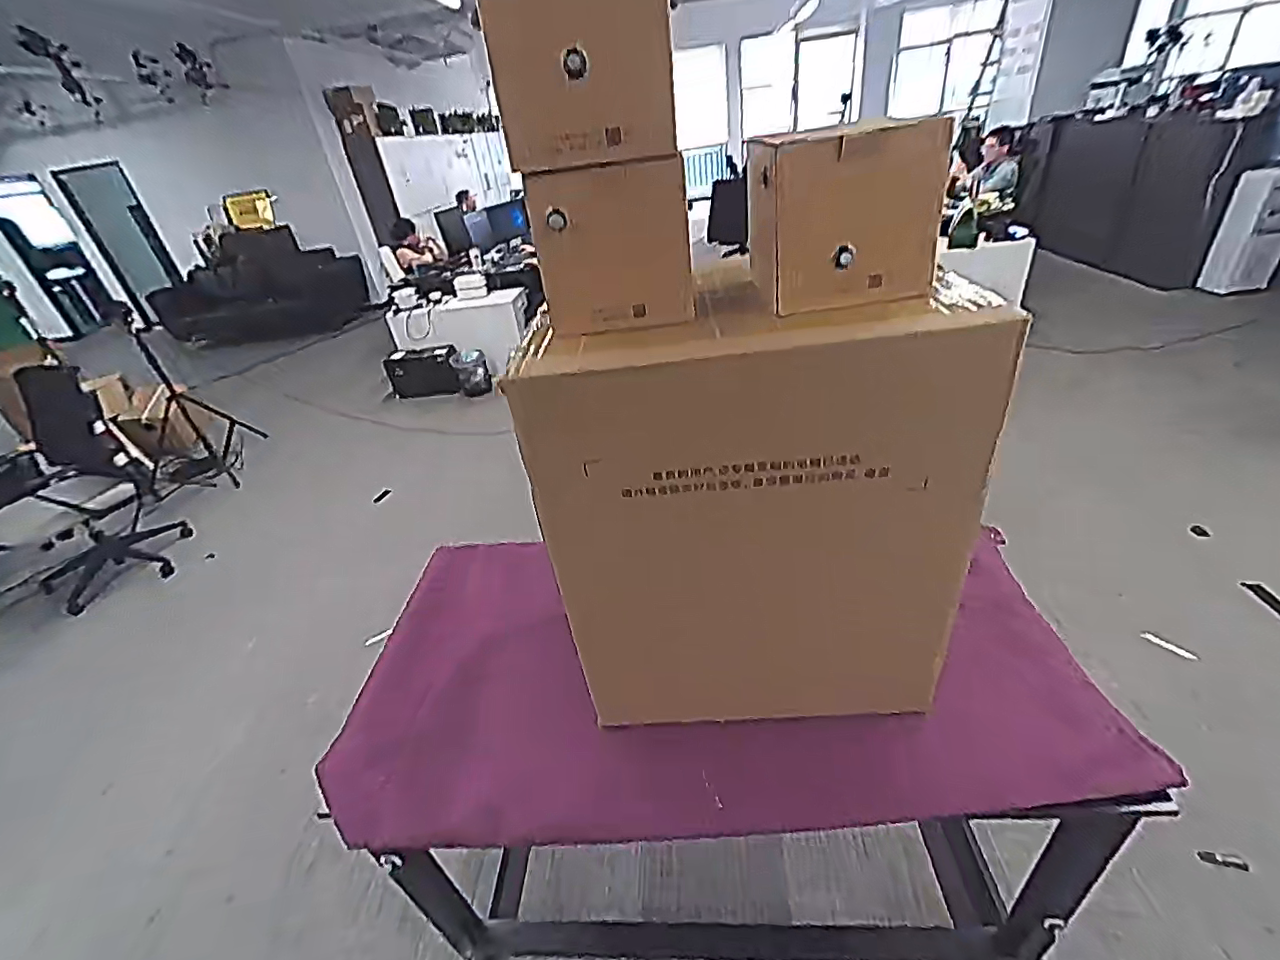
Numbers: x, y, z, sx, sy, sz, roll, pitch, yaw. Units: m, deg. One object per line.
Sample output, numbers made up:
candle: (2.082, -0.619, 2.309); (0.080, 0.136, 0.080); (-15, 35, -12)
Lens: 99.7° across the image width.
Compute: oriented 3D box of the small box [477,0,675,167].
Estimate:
small box: (-0.056, -0.425, 0.551); (0.168, 0.176, 0.179); (-6, 32, 2)

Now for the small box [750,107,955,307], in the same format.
small box: (0.220, -0.309, 0.614); (0.168, 0.176, 0.179); (-7, 33, 4)
